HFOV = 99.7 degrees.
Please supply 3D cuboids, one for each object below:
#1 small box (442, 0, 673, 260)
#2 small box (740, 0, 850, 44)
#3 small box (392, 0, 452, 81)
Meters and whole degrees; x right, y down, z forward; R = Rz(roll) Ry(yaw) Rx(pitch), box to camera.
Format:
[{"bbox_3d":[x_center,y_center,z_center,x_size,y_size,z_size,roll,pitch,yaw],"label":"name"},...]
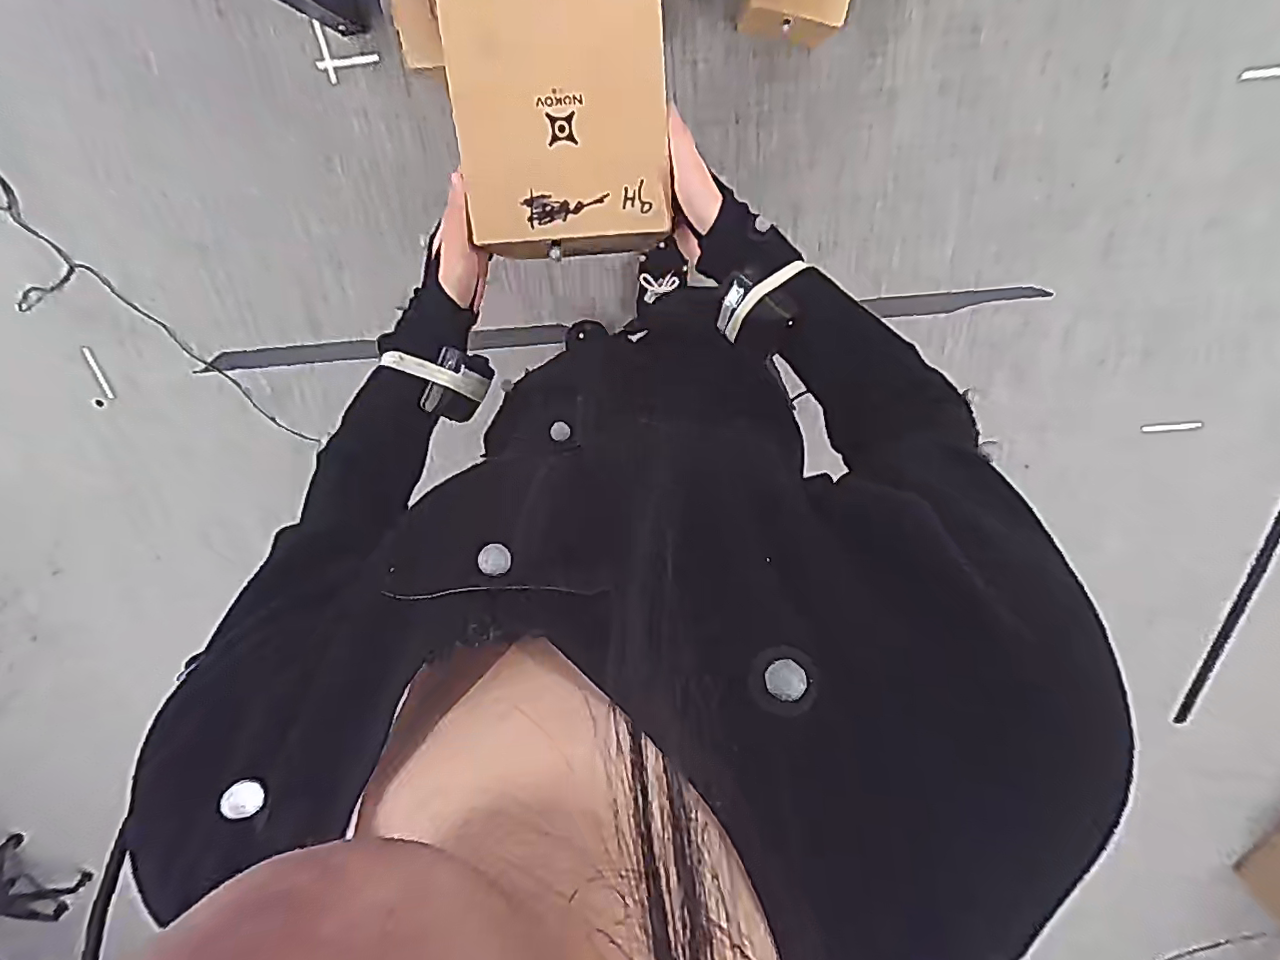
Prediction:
[{"bbox_3d":[-0.066,-0.304,0.490,0.168,0.176,0.179,-5,108,-3],"label":"small box"},{"bbox_3d":[0.300,-0.944,1.004,0.179,0.176,0.168,11,118,-3],"label":"small box"},{"bbox_3d":[-0.359,-0.890,1.046,0.179,0.176,0.168,-3,118,2],"label":"small box"}]
